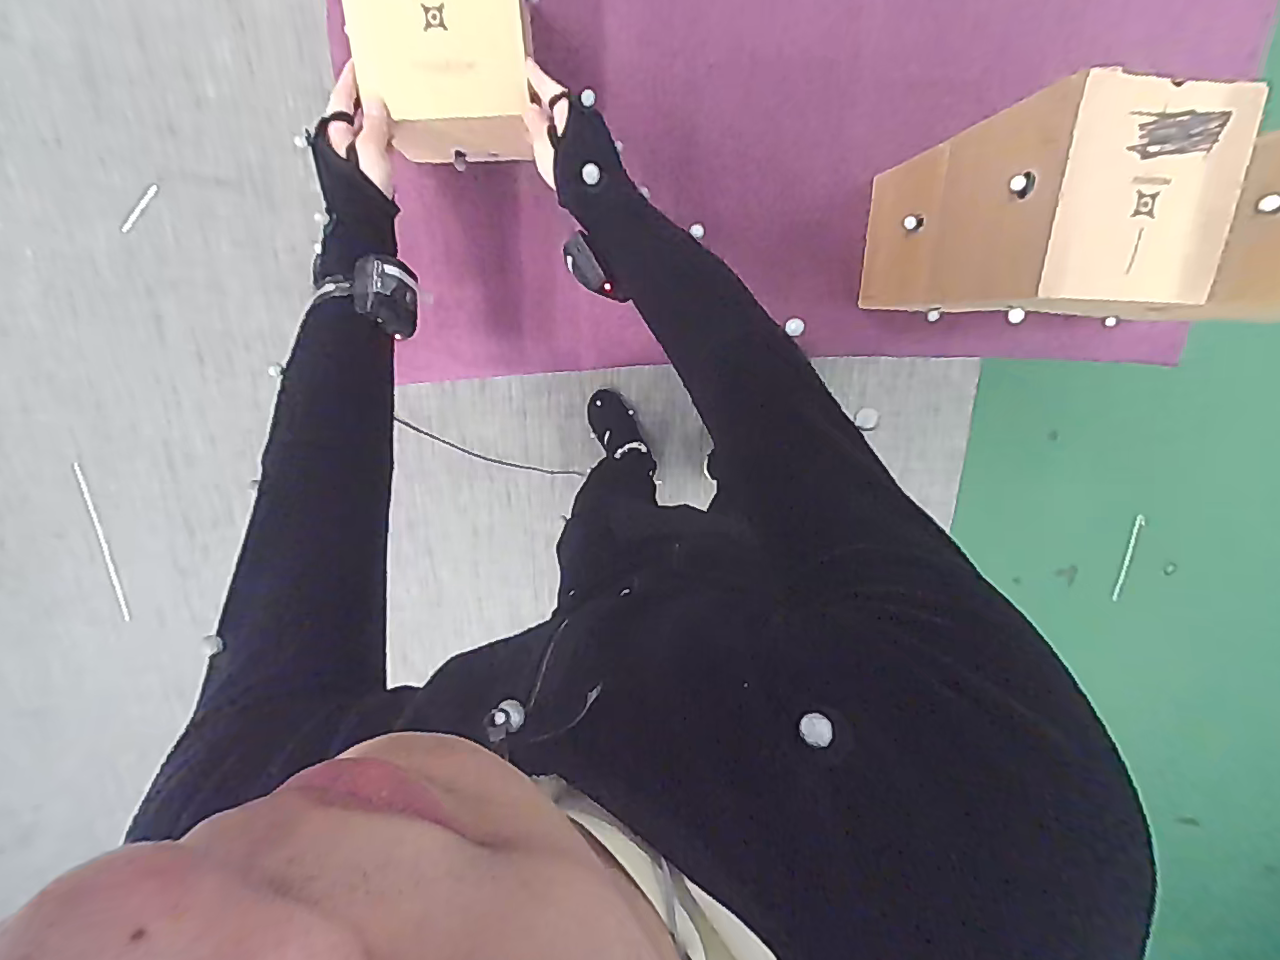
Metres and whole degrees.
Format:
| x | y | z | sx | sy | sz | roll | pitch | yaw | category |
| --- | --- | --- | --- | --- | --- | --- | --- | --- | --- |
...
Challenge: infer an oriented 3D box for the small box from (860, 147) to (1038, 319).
| x | y | z | sx | sy | sz | roll | pitch | yaw | category |
| --- | --- | --- | --- | --- | --- | --- | --- | --- | --- |
| 0.405 | -0.300 | 0.695 | 0.168 | 0.176 | 0.179 | 0 | 105 | -5 | small box |

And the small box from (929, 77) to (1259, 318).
| x | y | z | sx | sy | sz | roll | pitch | yaw | category |
| --- | --- | --- | --- | --- | --- | --- | --- | --- | --- |
| 0.420 | -0.258 | 0.538 | 0.168 | 0.176 | 0.179 | 1 | 106 | -5 | small box |

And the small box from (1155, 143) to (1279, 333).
| x | y | z | sx | sy | sz | roll | pitch | yaw | category |
| --- | --- | --- | --- | --- | --- | --- | --- | --- | --- |
| 0.701 | -0.250 | 0.562 | 0.168 | 0.176 | 0.179 | 3 | 105 | -5 | small box |

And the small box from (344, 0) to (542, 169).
| x | y | z | sx | sy | sz | roll | pitch | yaw | category |
| --- | --- | --- | --- | --- | --- | --- | --- | --- | --- |
| -0.202 | -0.460 | 0.590 | 0.168 | 0.176 | 0.179 | -4 | 108 | -4 | small box |
